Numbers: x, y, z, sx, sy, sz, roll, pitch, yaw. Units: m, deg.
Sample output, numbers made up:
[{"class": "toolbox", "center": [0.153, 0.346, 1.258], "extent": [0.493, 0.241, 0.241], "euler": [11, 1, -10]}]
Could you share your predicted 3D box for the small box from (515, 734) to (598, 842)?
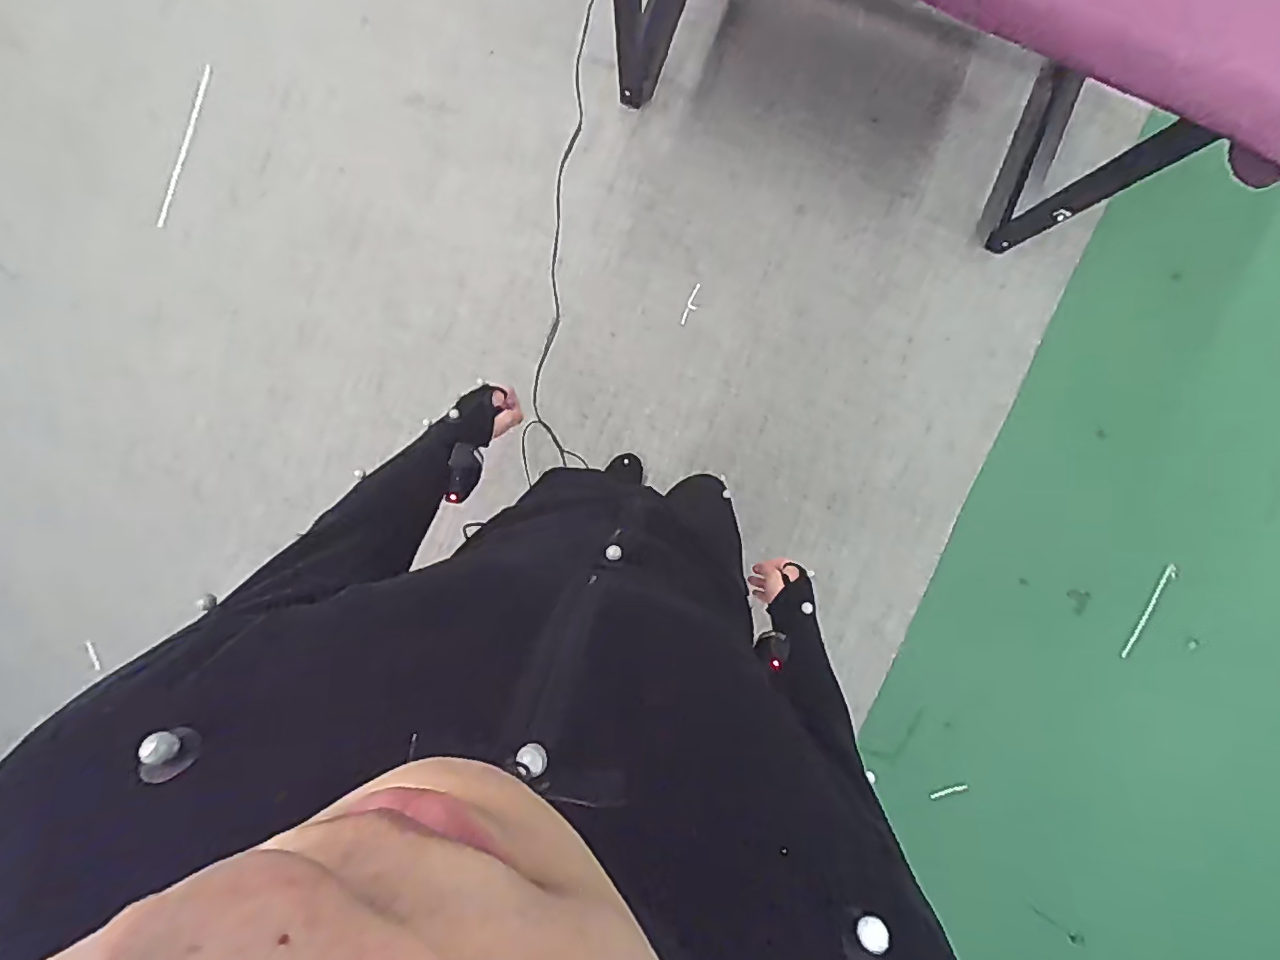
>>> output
[{"class": "small box", "center": [-0.233, 0.883, 1.564], "extent": [0.168, 0.176, 0.179], "euler": [27, 96, -1]}]
